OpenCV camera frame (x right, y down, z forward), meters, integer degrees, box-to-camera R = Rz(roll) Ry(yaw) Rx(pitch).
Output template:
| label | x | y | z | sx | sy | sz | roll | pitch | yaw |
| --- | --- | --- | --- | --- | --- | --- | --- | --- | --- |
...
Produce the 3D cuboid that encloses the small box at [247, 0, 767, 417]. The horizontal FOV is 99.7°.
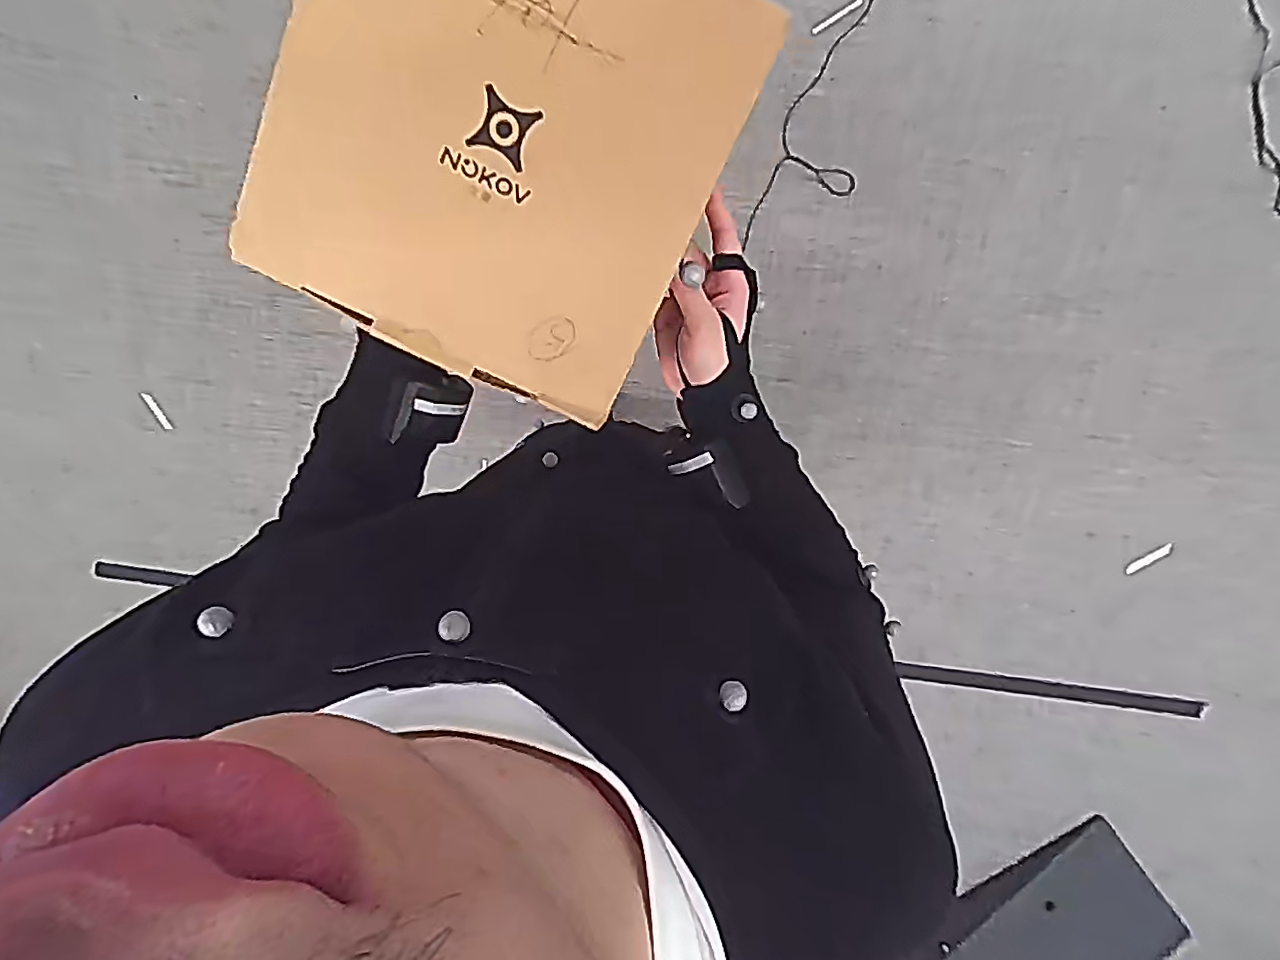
| label | x | y | z | sx | sy | sz | roll | pitch | yaw |
| --- | --- | --- | --- | --- | --- | --- | --- | --- | --- |
| small box | -0.059 | -0.155 | 0.298 | 0.168 | 0.176 | 0.179 | 25 | 101 | -8 |
